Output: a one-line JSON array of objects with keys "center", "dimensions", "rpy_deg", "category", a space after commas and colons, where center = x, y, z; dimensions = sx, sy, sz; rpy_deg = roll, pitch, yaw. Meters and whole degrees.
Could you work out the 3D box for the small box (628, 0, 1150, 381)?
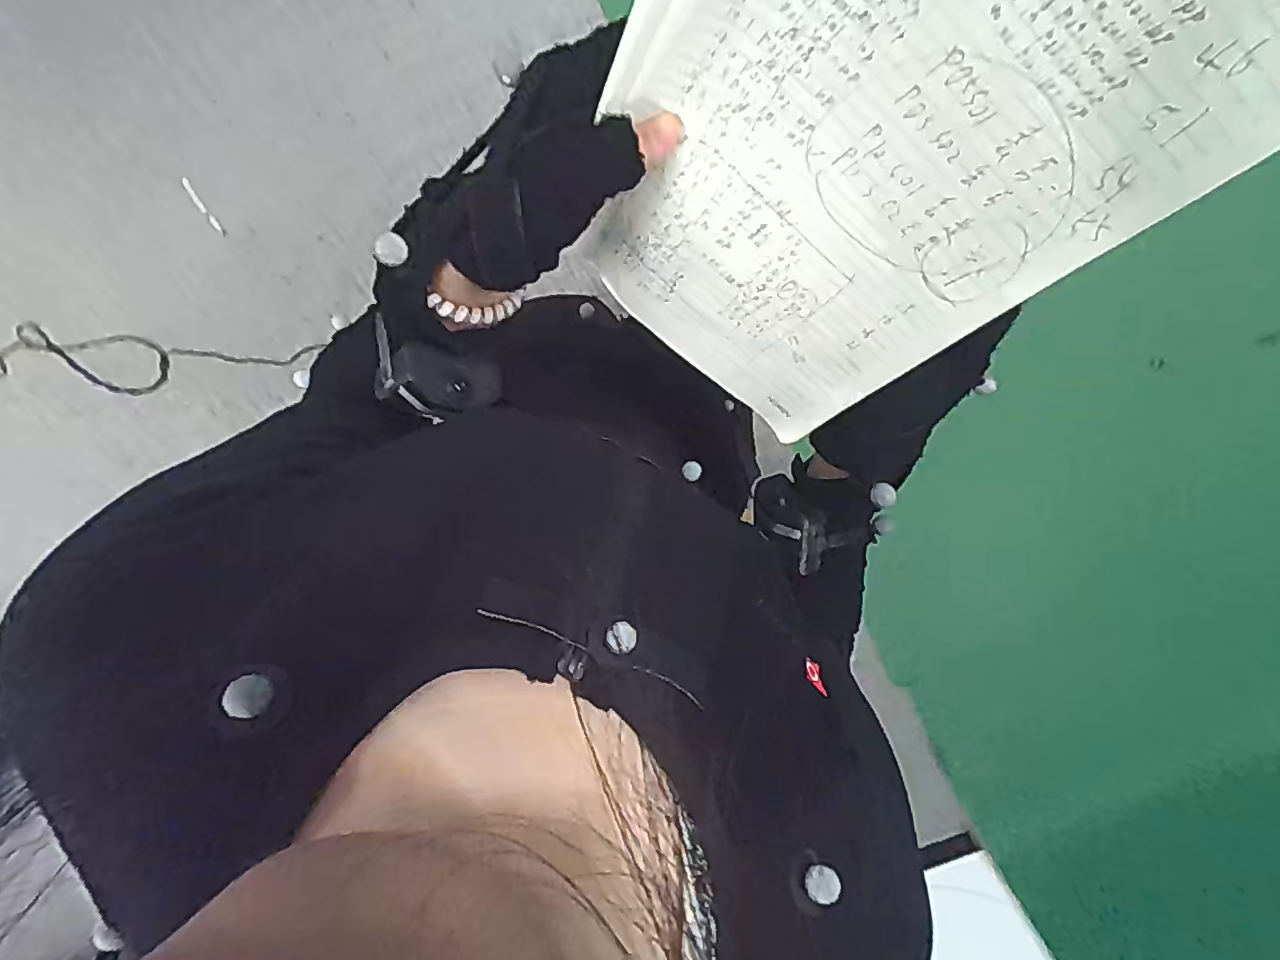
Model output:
[{"center": [0.115, -0.199, 0.320], "dimensions": [0.168, 0.176, 0.179], "rpy_deg": [29, 129, -7], "category": "small box"}]
